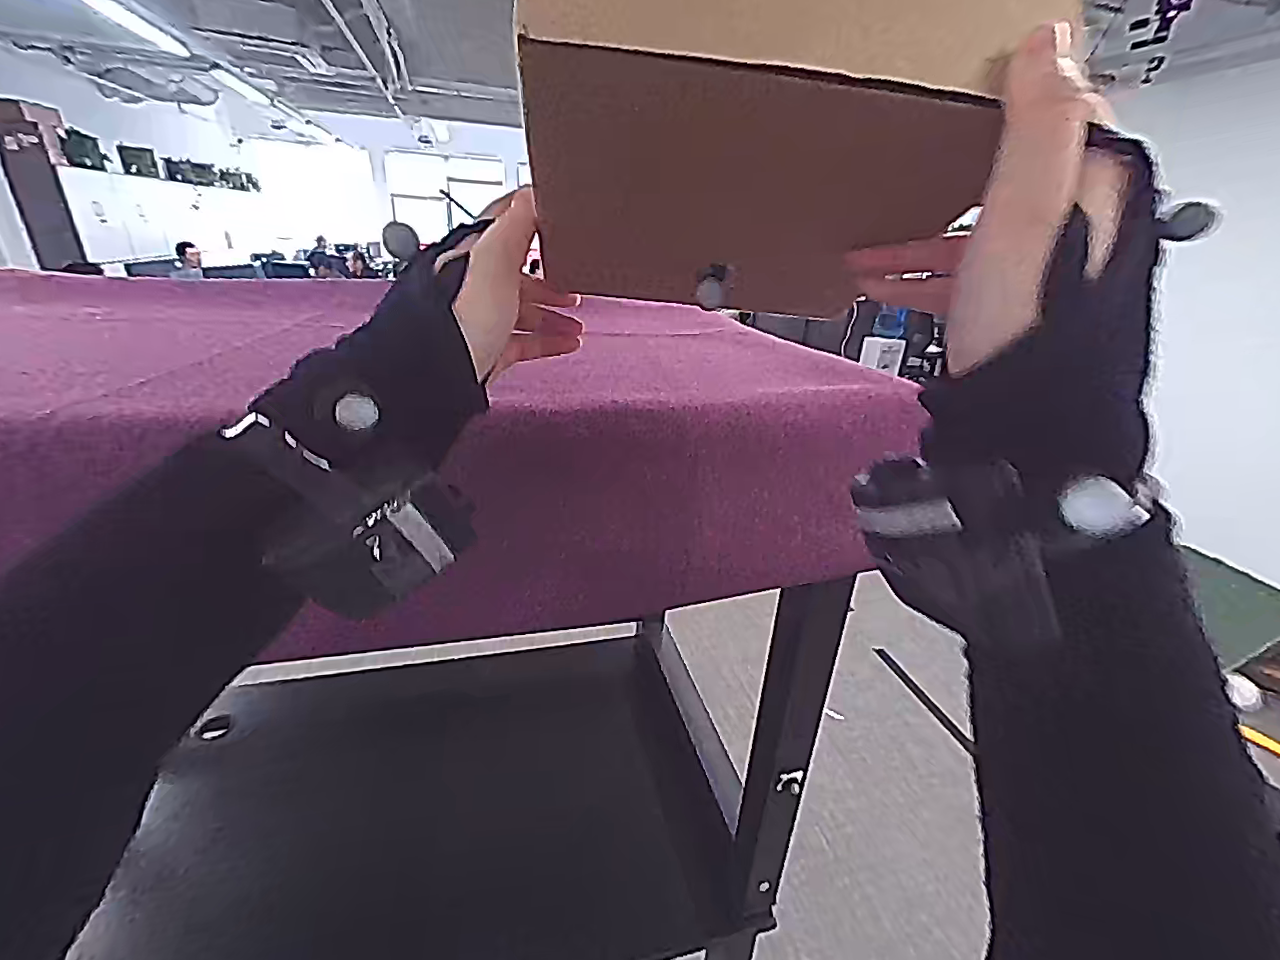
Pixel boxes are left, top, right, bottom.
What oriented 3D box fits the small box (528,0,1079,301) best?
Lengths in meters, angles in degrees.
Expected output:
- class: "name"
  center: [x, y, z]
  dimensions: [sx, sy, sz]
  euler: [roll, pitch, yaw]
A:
- class: "small box"
  center: [0.046, -0.197, 0.247]
  dimensions: [0.179, 0.168, 0.176]
  euler: [3, -7, -8]
